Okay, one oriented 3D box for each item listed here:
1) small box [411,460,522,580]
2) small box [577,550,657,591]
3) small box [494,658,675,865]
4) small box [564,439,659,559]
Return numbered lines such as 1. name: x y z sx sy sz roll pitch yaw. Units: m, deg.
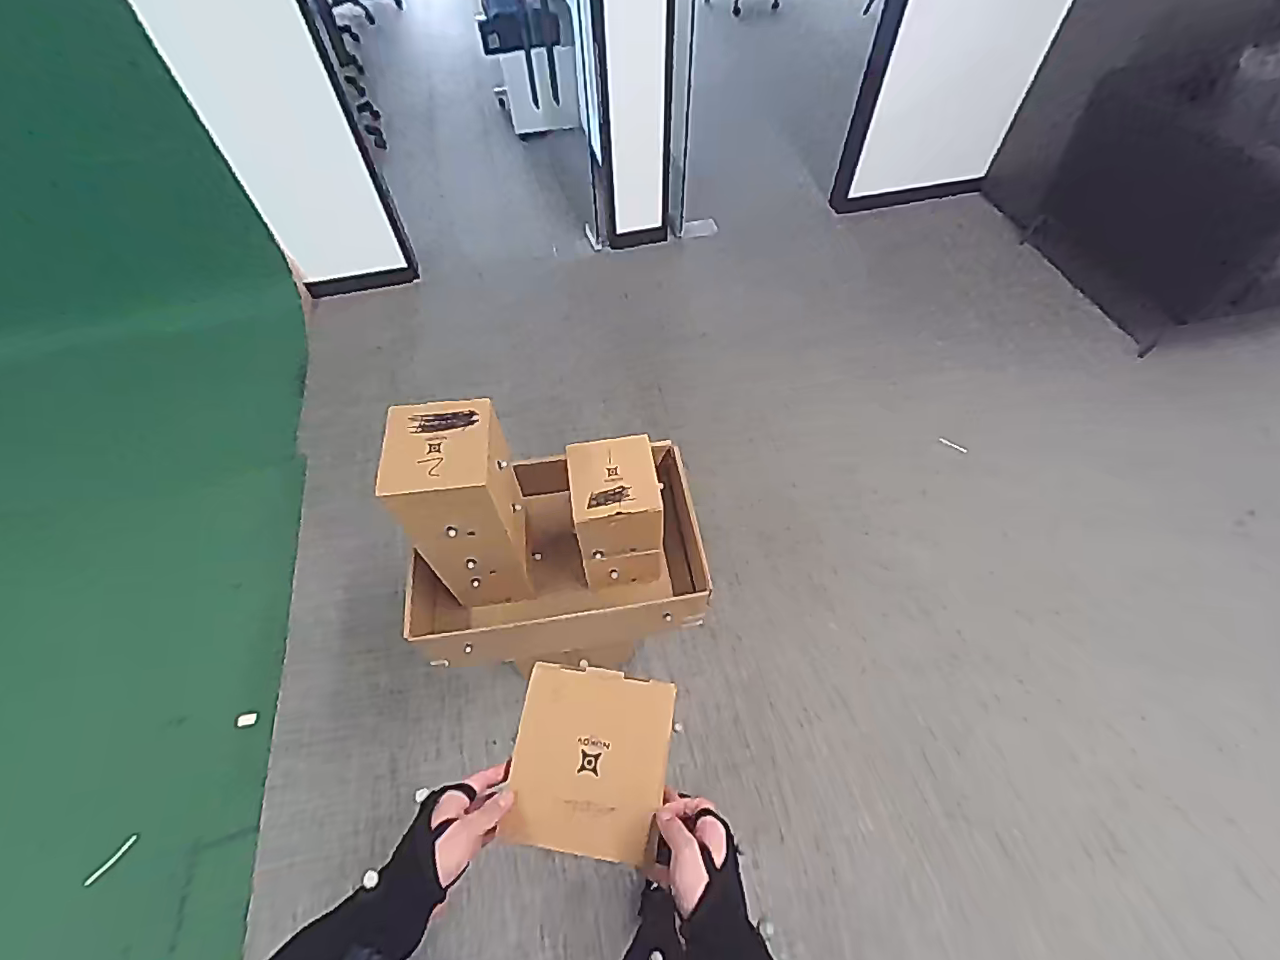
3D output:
1. small box: -0.327 0.085 1.053 0.168 0.176 0.179 -6 57 -4
2. small box: -0.053 0.138 1.213 0.168 0.176 0.179 -7 56 -4
3. small box: -0.055 0.324 0.647 0.168 0.176 0.179 8 66 4
4. small box: -0.055 0.045 1.077 0.168 0.176 0.179 -8 56 -4
